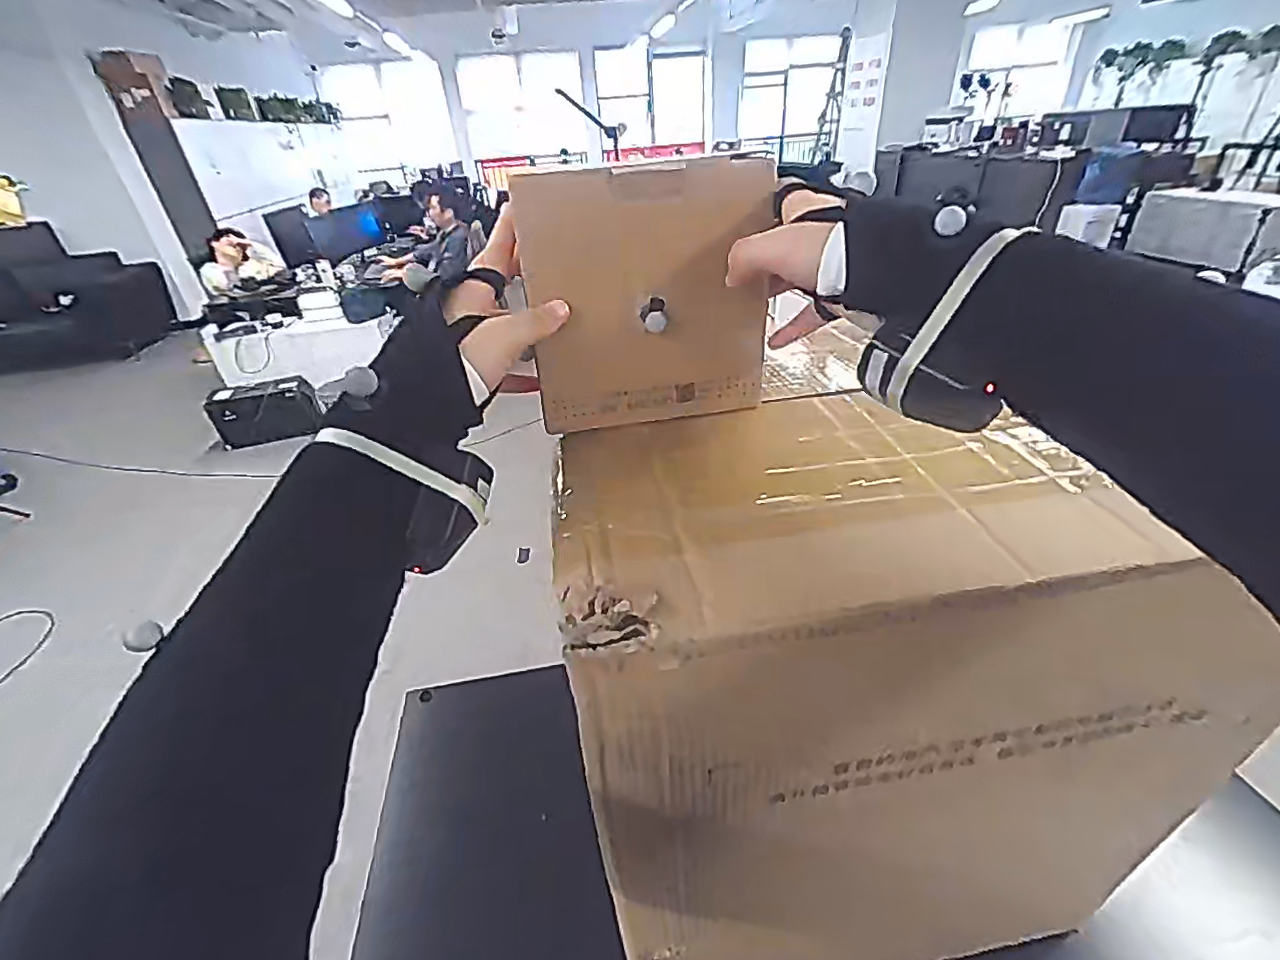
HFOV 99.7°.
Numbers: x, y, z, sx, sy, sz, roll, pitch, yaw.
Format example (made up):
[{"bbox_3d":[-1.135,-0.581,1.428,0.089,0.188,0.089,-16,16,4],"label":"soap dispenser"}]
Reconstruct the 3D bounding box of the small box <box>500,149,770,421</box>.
[{"bbox_3d":[-0.009,-0.153,0.426,0.168,0.176,0.179,-9,32,-8],"label":"small box"}]
